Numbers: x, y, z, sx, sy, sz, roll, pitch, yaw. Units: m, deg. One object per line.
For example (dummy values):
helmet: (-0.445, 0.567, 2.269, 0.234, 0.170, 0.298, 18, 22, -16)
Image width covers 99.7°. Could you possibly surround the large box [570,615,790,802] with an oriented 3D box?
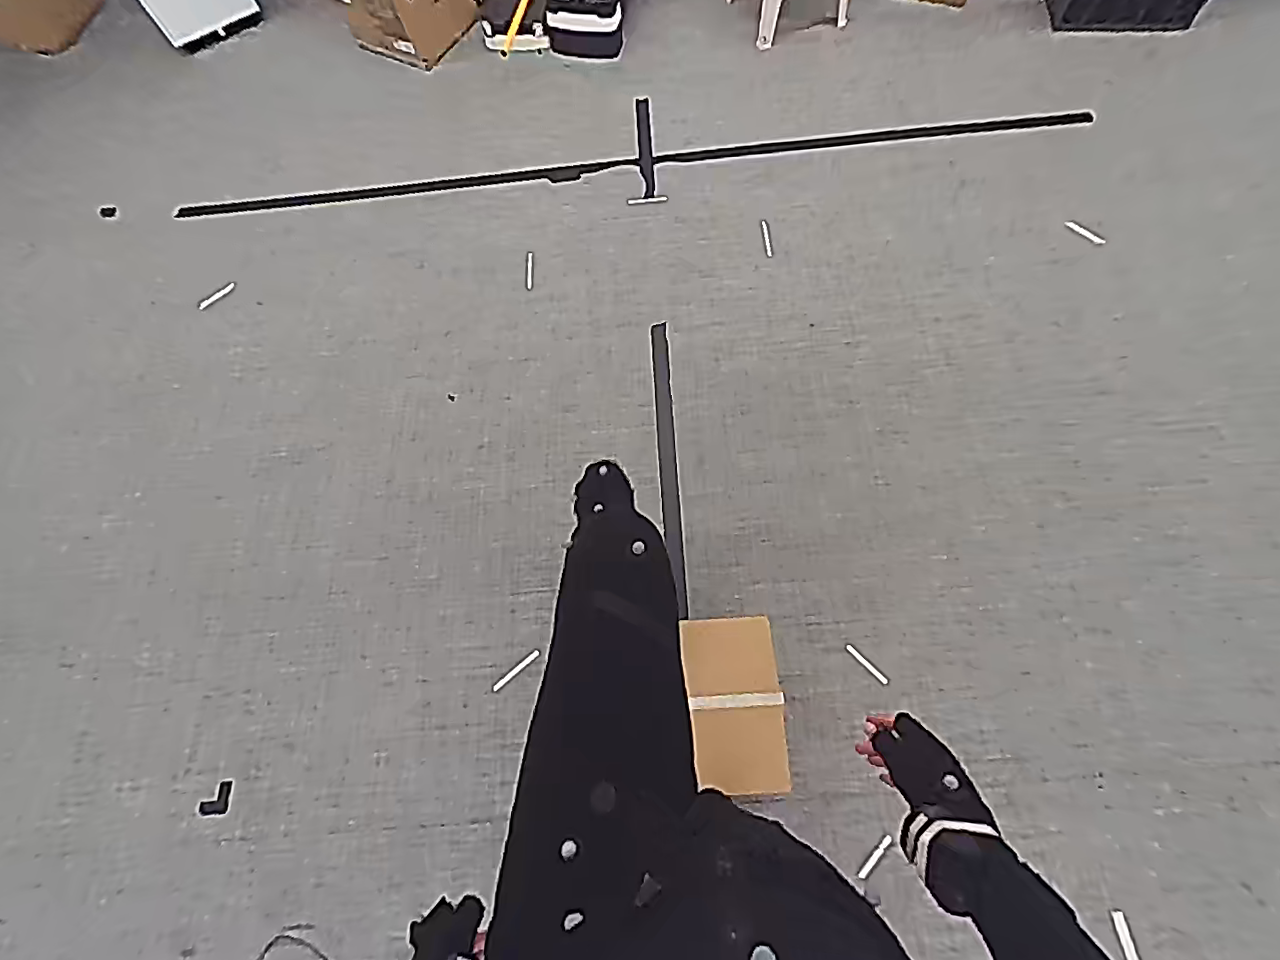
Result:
large box: (0.077, 0.484, 1.178, 0.408, 0.320, 0.320, -5, 68, 3)
